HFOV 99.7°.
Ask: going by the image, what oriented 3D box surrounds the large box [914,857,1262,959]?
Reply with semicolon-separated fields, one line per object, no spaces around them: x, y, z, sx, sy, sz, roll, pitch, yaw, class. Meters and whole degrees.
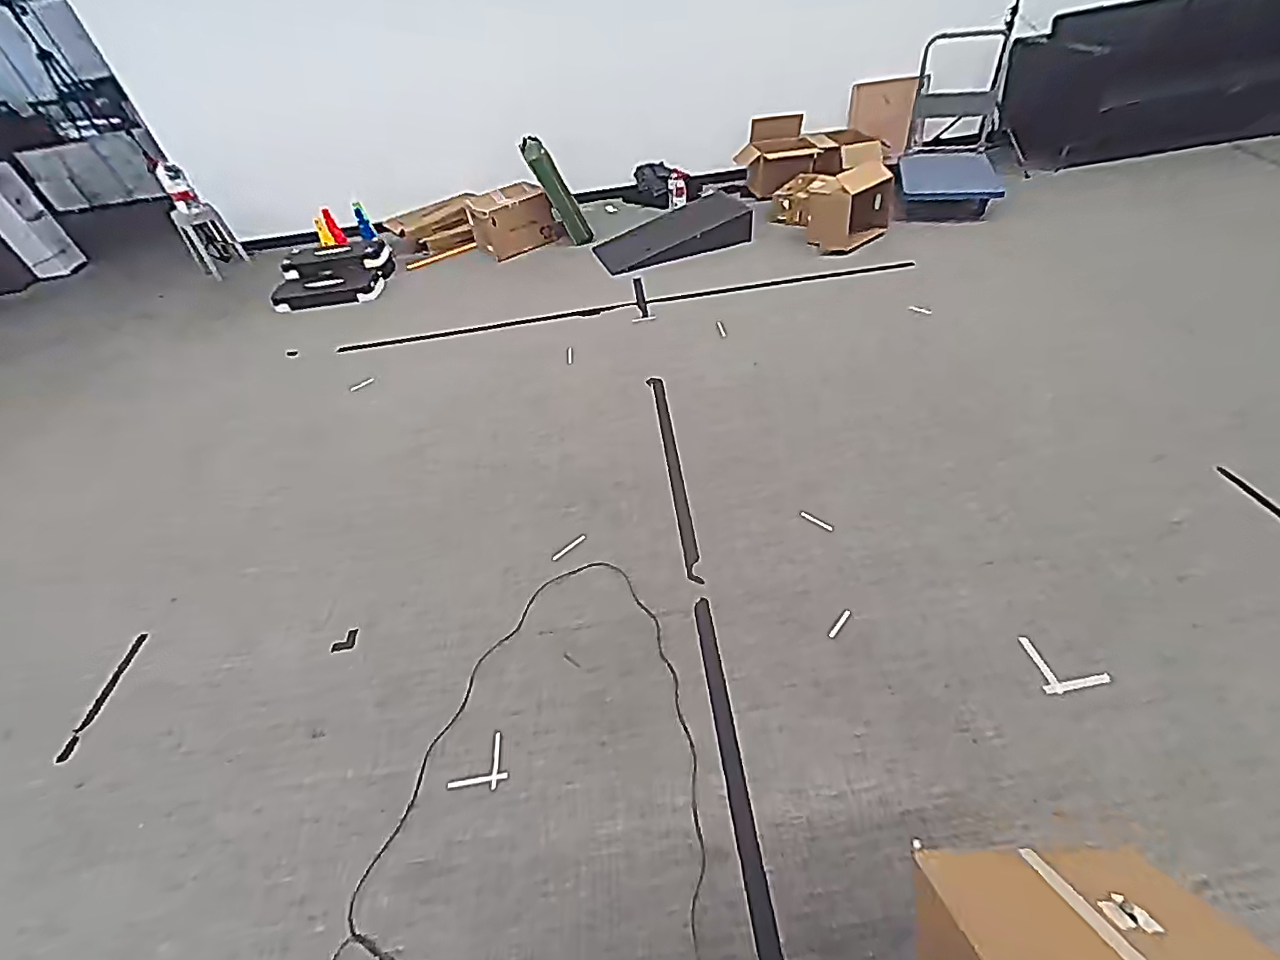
0.556;0.696;0.587;0.320;0.408;0.320;-3;85;4;large box
